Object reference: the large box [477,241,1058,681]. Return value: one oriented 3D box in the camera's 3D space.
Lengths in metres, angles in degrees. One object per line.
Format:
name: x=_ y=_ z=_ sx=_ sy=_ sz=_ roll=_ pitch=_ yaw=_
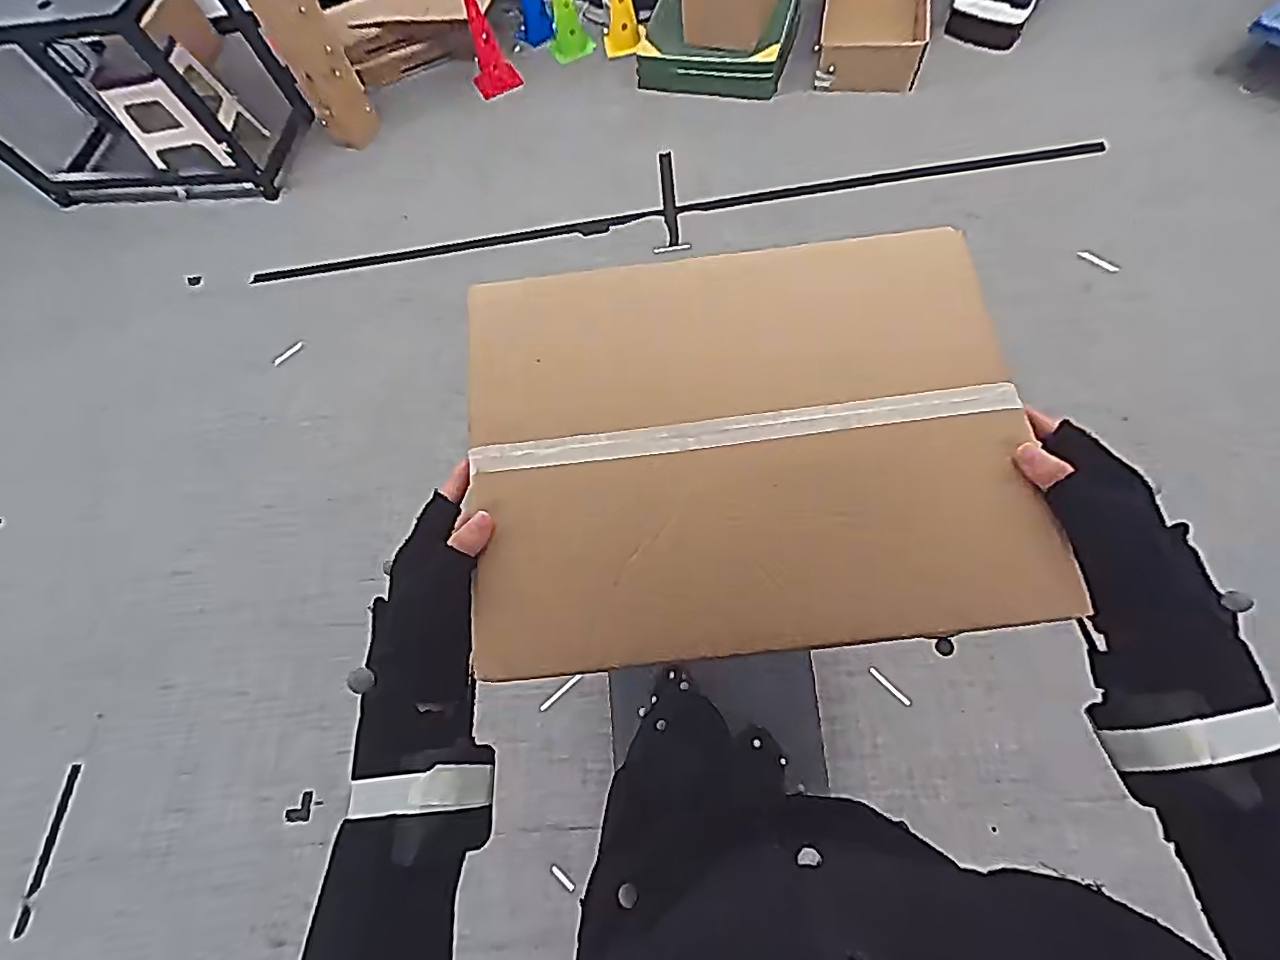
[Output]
large box: x=0.084 y=0.011 z=0.558 sx=0.408 sy=0.320 sz=0.320 roll=-7 pitch=72 yaw=2
